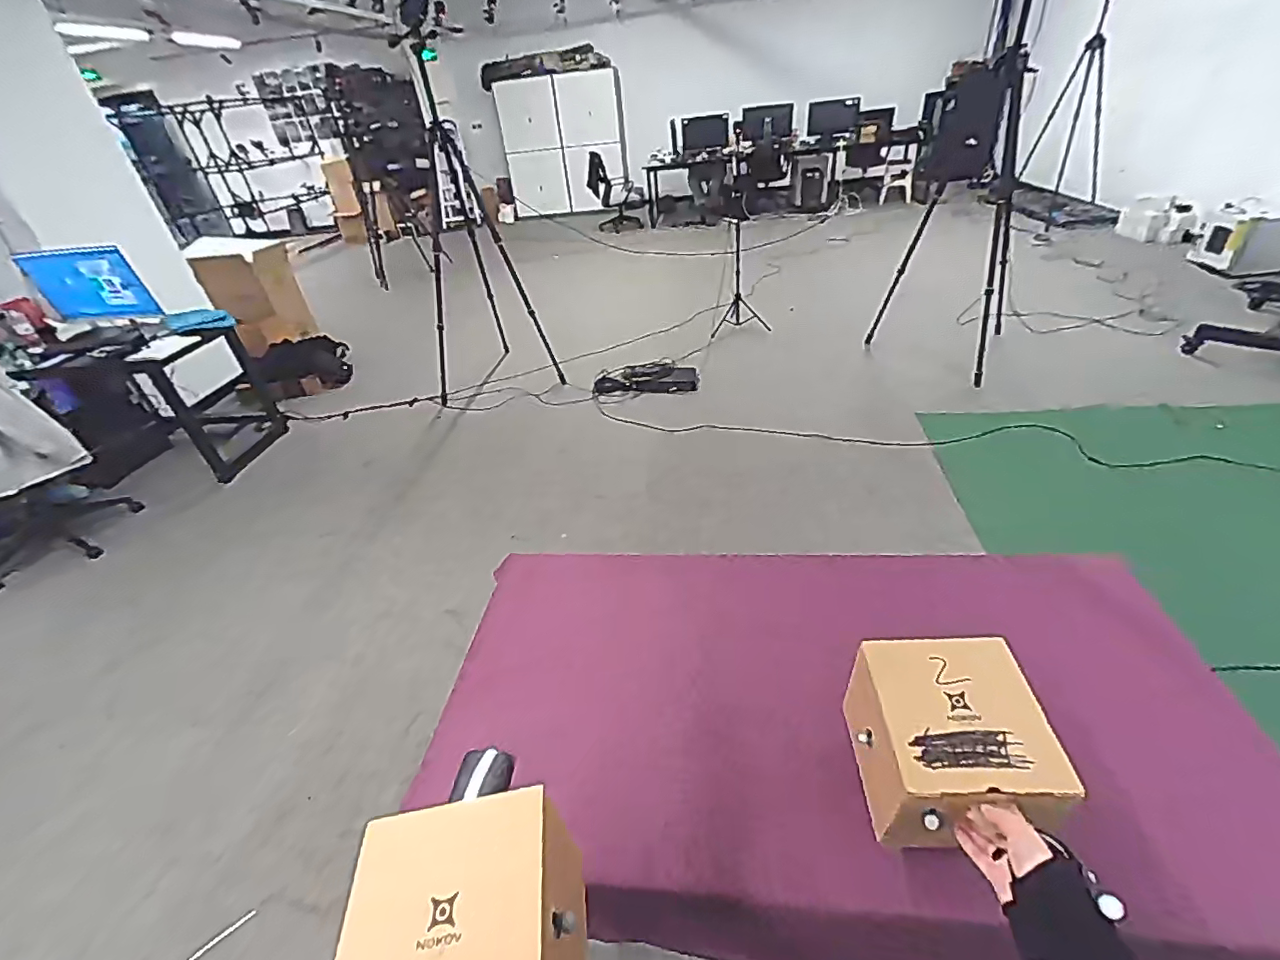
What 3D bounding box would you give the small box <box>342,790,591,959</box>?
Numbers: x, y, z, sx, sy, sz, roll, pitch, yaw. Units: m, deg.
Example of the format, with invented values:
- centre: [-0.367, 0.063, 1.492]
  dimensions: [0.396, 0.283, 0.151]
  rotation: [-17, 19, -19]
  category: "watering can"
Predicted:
- centre: [-0.139, 0.411, 0.473]
  dimensions: [0.168, 0.176, 0.179]
  rotation: [-11, 38, -1]
  category: "small box"
